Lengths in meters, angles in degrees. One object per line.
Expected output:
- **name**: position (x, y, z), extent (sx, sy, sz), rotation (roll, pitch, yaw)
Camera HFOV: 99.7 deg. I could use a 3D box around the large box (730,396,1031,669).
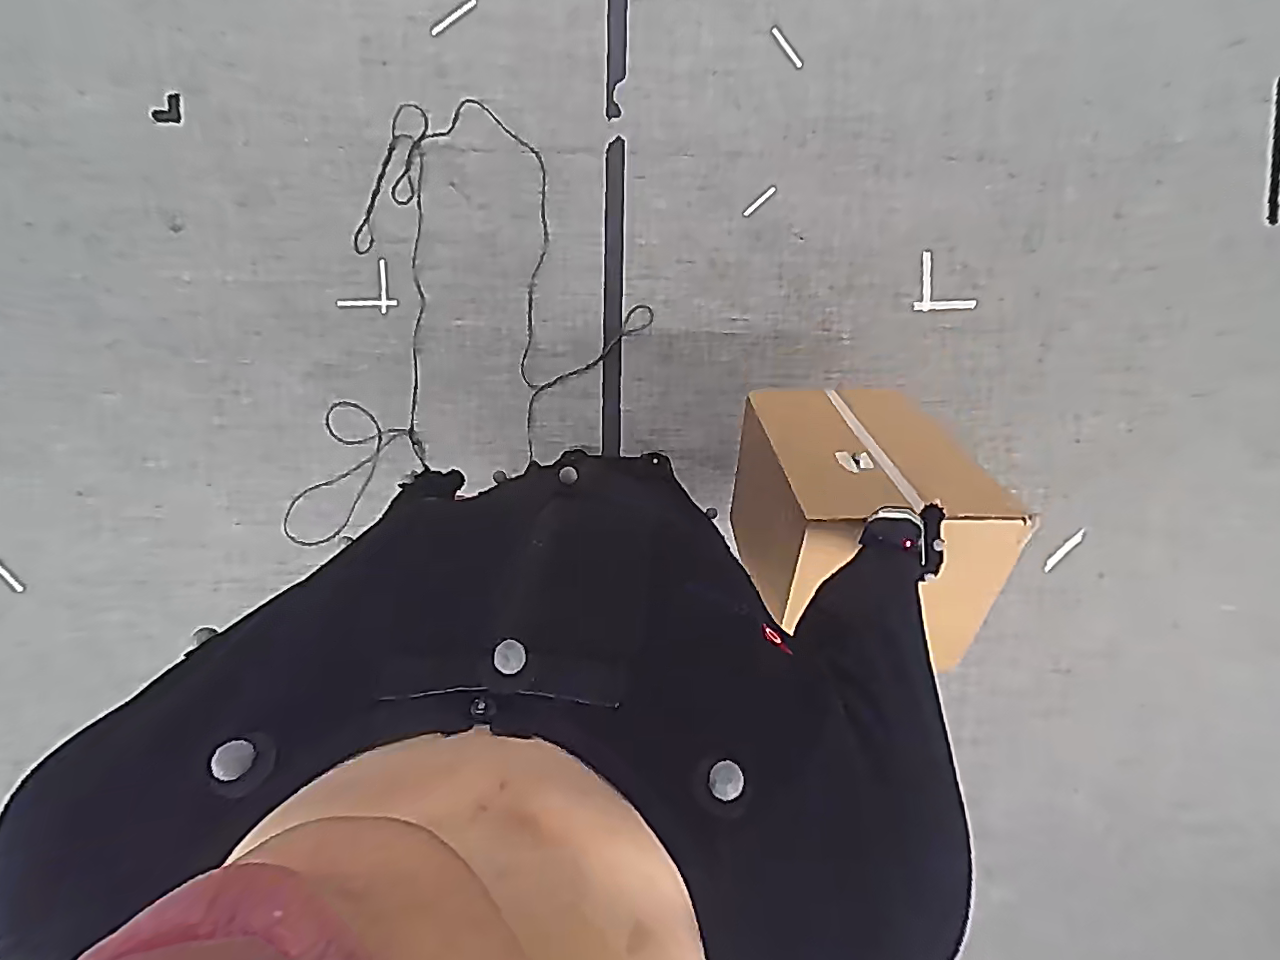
- **large box**: position (0.367, 0.077, 0.975), extent (0.320, 0.408, 0.320), rotation (0, 125, -3)
